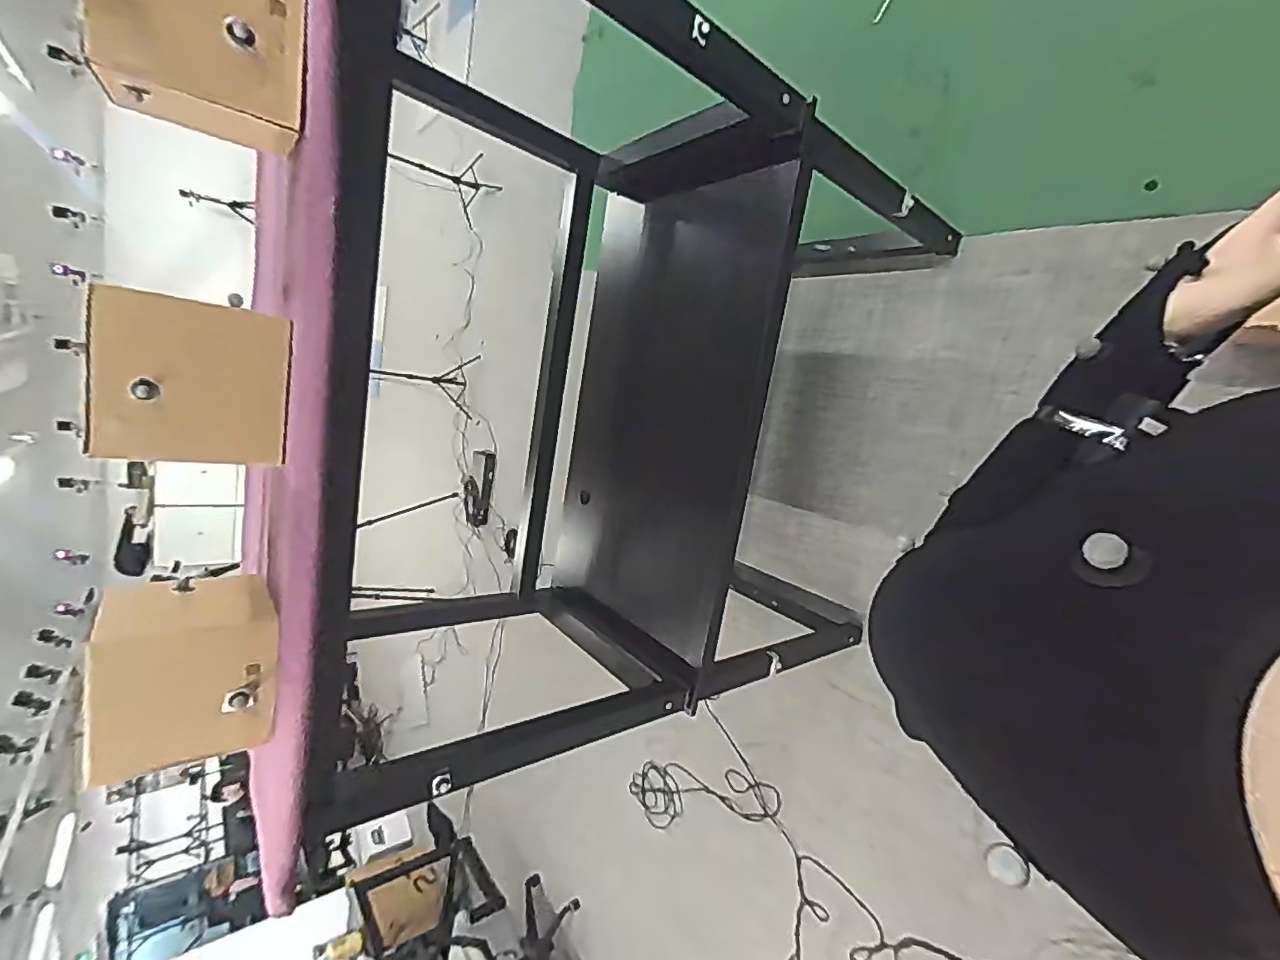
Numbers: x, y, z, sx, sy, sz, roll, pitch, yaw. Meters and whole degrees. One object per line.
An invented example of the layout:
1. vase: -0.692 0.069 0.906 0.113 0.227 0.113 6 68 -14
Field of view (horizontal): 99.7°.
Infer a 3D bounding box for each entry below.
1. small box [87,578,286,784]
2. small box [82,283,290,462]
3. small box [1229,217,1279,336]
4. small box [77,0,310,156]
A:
1. small box: -0.554 0.226 0.669 0.179 0.176 0.168 15 101 48
2. small box: -0.521 -0.122 0.639 0.168 0.176 0.179 22 105 50
3. small box: 1.152 -0.341 0.917 0.168 0.176 0.179 19 104 49
4. small box: -0.460 -0.471 0.572 0.179 0.176 0.168 25 110 50
